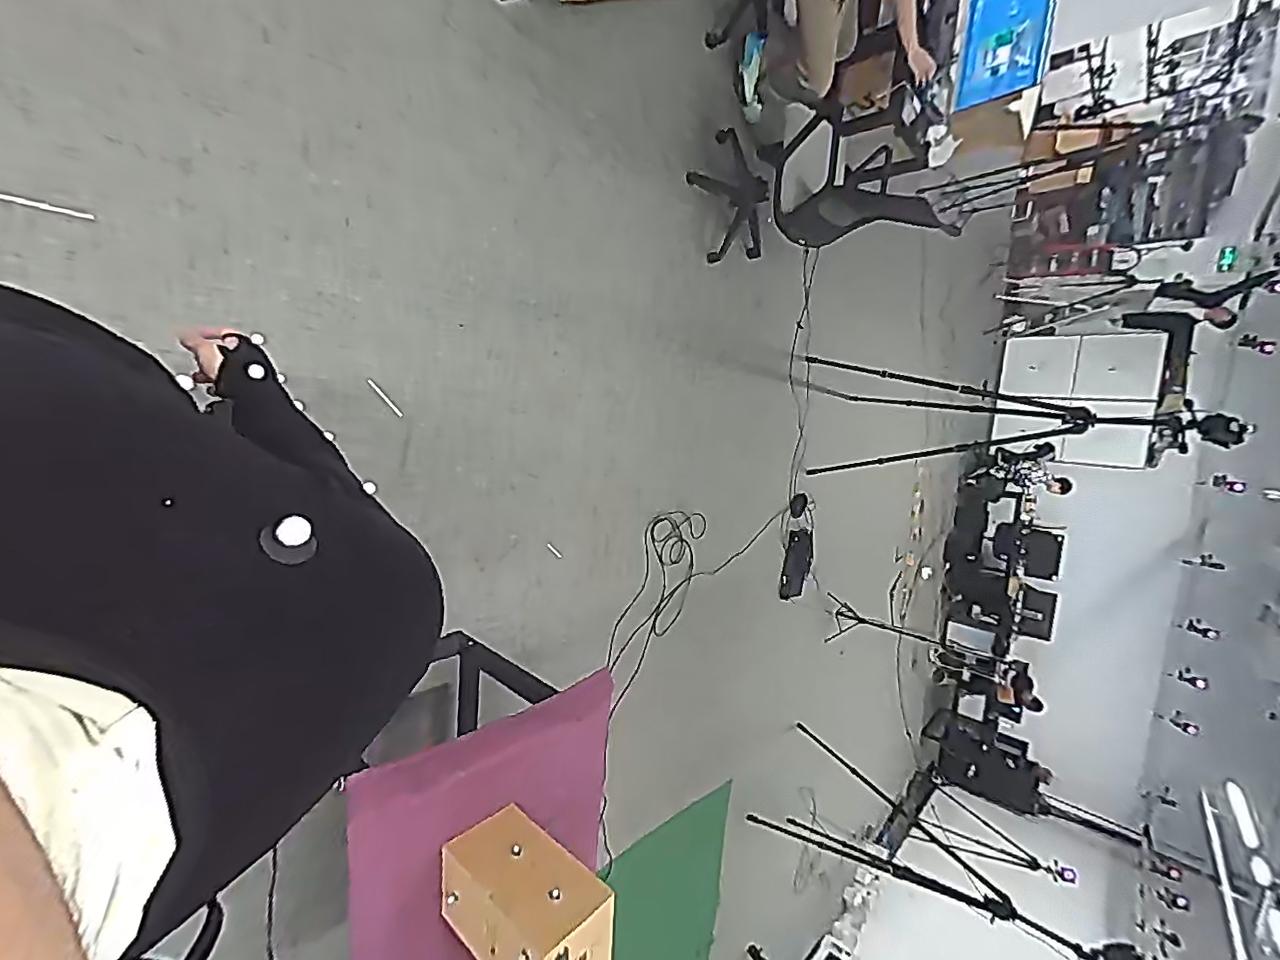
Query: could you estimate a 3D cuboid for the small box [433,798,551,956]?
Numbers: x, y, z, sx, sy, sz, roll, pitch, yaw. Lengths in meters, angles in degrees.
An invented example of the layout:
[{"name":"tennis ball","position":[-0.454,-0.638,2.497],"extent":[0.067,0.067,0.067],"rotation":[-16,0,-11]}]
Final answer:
[{"name":"small box","position":[-0.313,0.822,1.144],"extent":[0.179,0.176,0.168],"rotation":[-5,102,-48]}]
